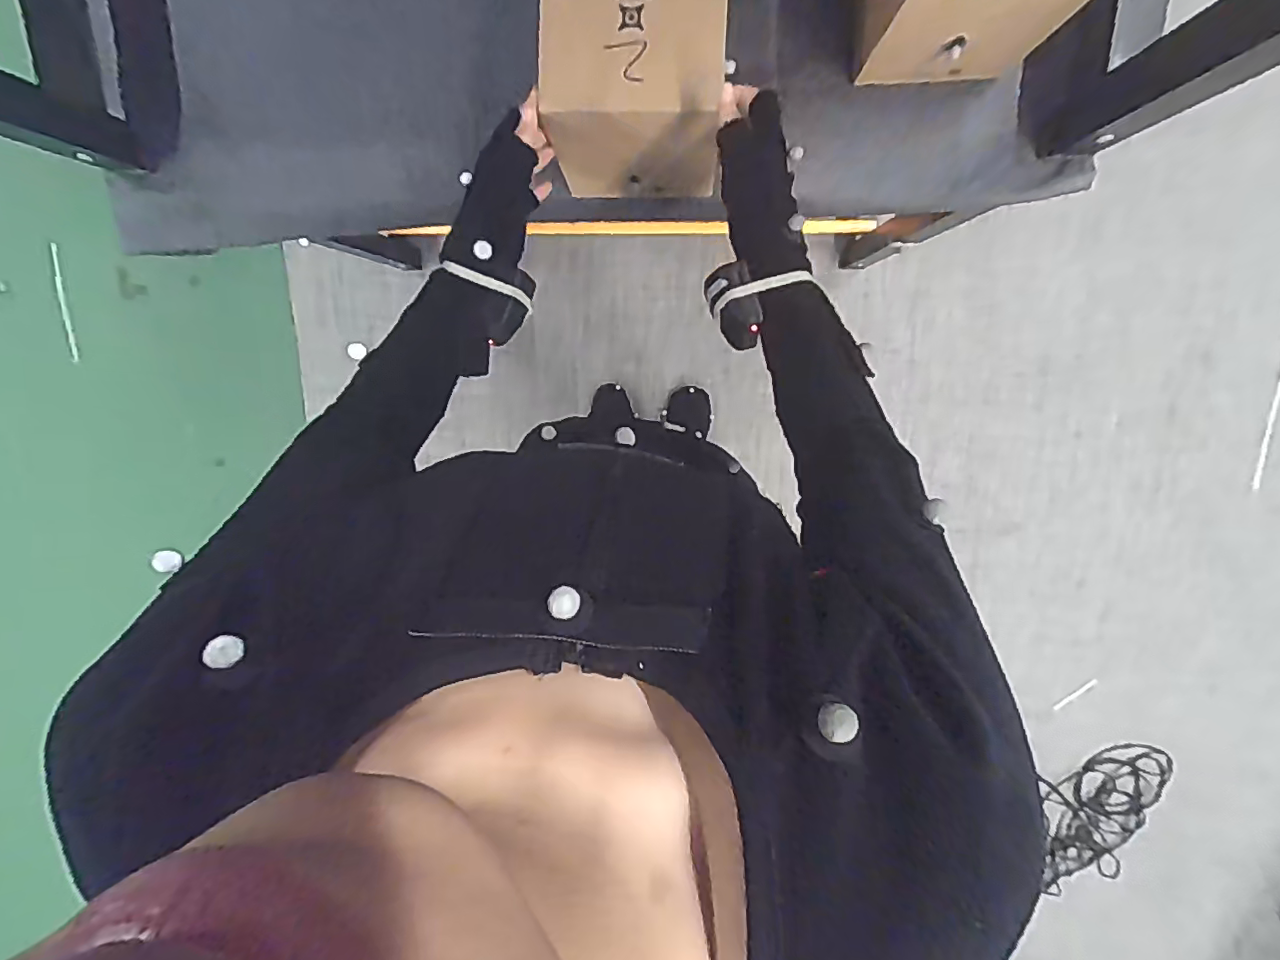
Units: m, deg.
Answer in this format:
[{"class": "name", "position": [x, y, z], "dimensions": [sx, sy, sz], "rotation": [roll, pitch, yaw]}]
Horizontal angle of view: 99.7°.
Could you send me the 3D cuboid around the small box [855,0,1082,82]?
[{"class": "small box", "position": [0.318, -0.515, 0.521], "dimensions": [0.168, 0.176, 0.179], "rotation": [0, 102, 4]}]
